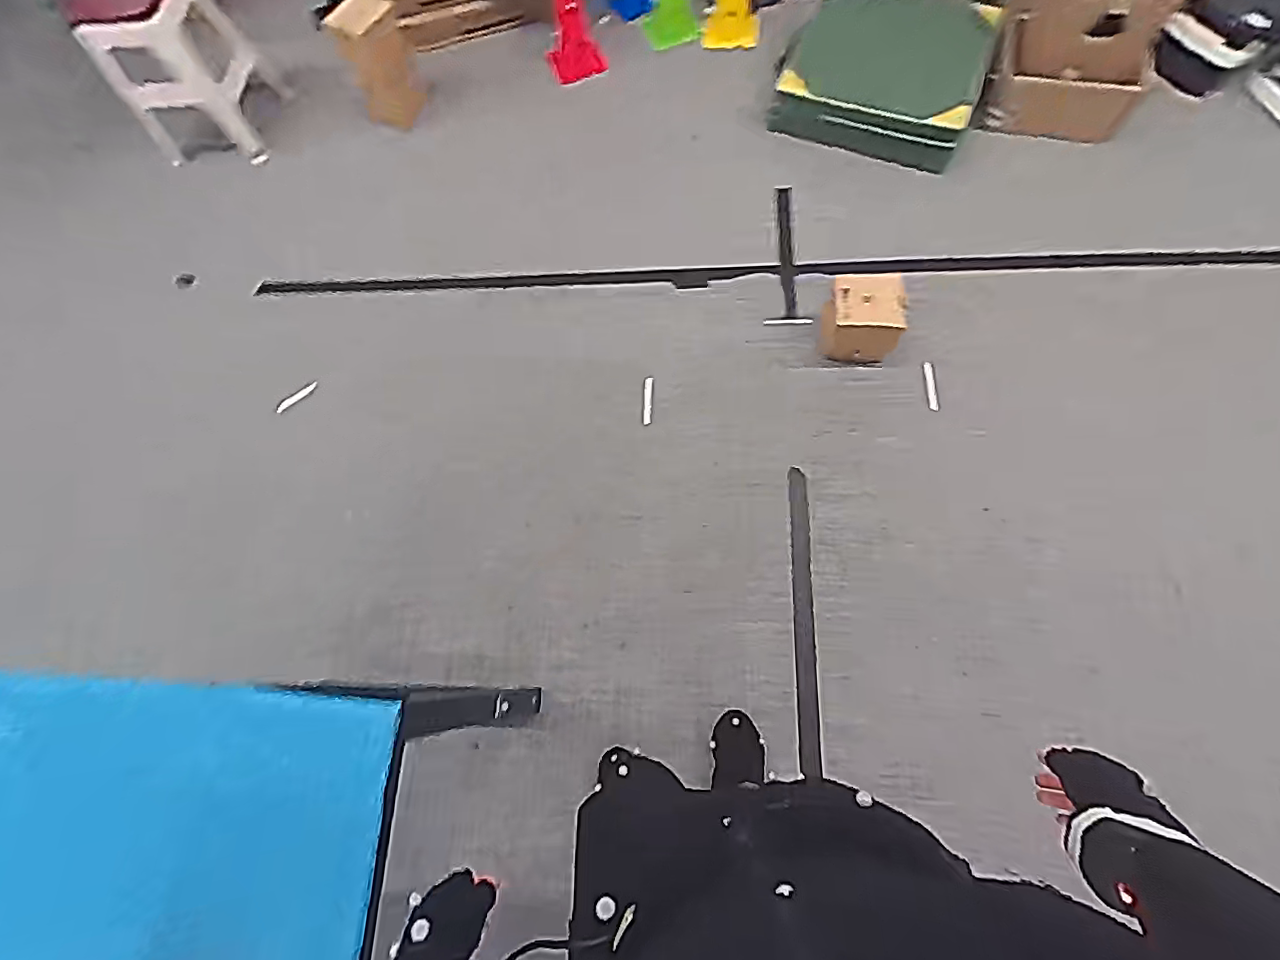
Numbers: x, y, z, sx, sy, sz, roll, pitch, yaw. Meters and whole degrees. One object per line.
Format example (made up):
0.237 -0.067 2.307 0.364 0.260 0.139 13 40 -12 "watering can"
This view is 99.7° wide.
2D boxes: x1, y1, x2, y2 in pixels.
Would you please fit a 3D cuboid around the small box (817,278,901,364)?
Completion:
0.614 -0.446 1.533 0.179 0.176 0.168 4 70 4 "small box"
